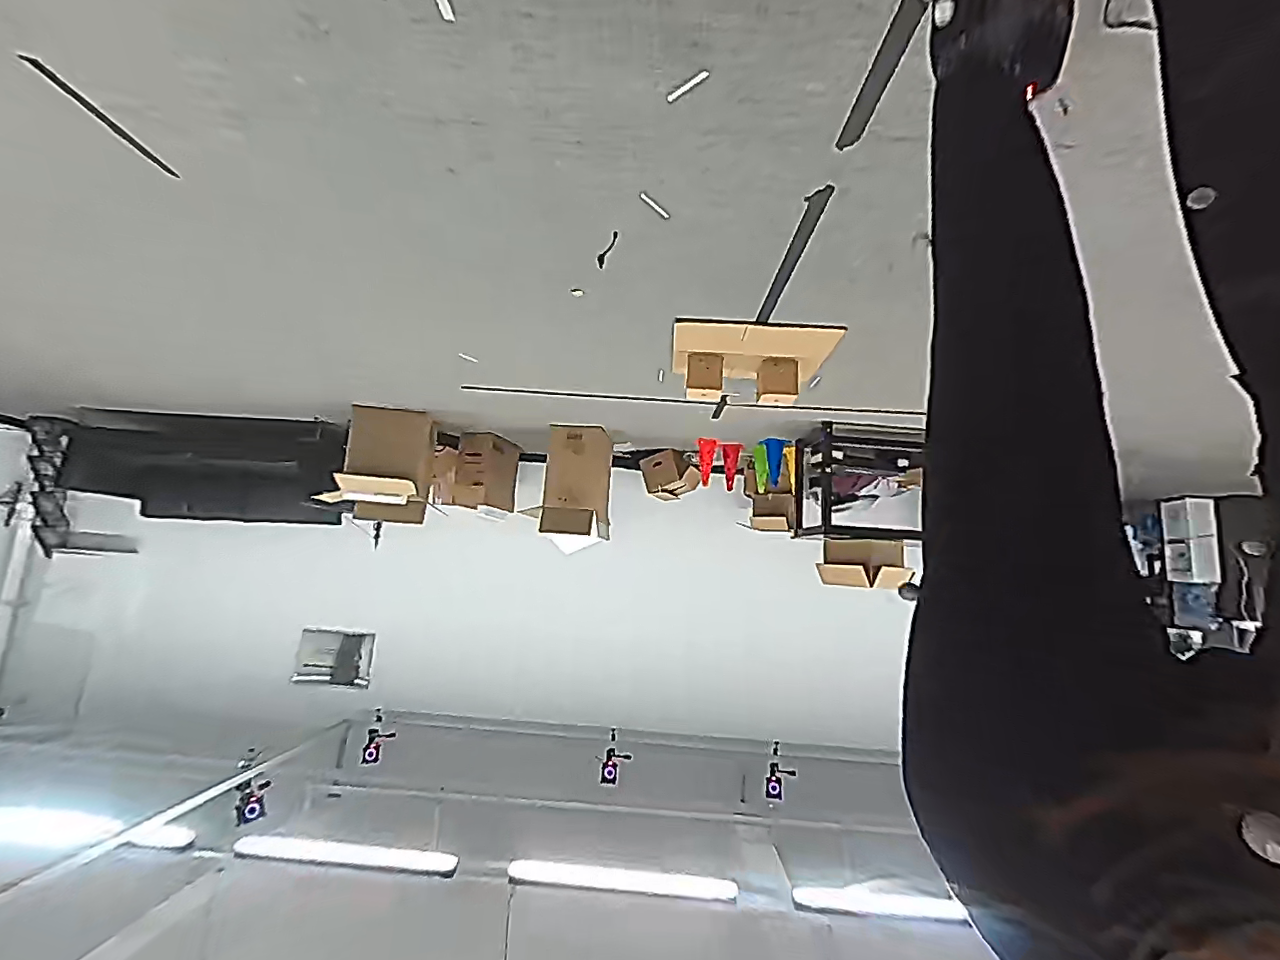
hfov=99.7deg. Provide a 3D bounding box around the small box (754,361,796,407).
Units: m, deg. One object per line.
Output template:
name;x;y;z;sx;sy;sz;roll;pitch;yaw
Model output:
small box;0.642;-0.457;2.576;0.168;0.176;0.179;3;171;3

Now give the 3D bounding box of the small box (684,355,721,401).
small box;0.300;-0.487;2.590;0.168;0.176;0.179;3;171;6
